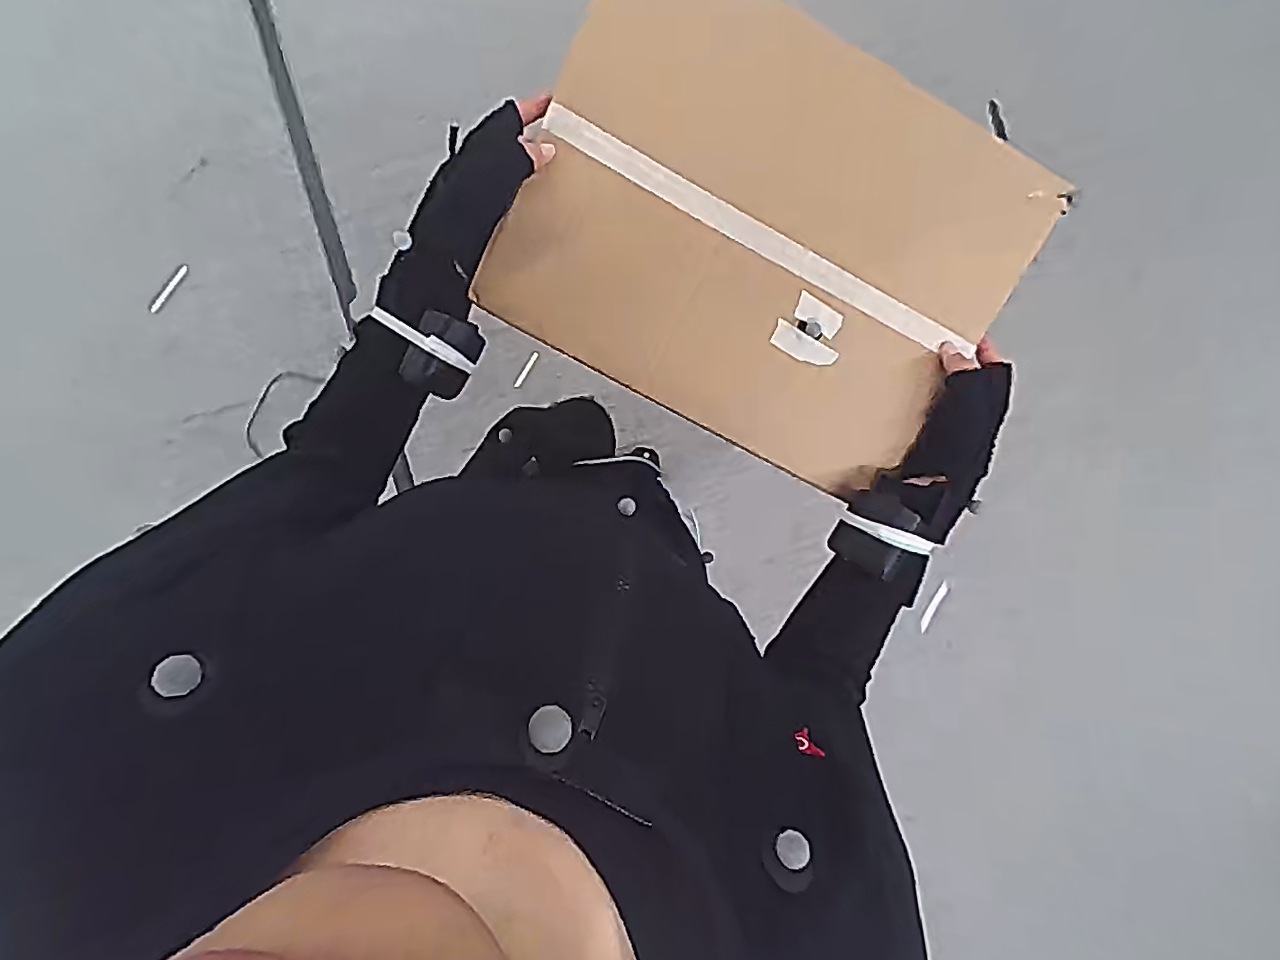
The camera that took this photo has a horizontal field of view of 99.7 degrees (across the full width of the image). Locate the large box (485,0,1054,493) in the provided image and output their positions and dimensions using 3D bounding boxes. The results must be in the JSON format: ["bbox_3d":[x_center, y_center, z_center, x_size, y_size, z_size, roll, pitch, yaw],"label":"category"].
[{"bbox_3d":[0.103,-0.233,0.604,0.408,0.320,0.320,27,100,-7],"label":"large box"}]
